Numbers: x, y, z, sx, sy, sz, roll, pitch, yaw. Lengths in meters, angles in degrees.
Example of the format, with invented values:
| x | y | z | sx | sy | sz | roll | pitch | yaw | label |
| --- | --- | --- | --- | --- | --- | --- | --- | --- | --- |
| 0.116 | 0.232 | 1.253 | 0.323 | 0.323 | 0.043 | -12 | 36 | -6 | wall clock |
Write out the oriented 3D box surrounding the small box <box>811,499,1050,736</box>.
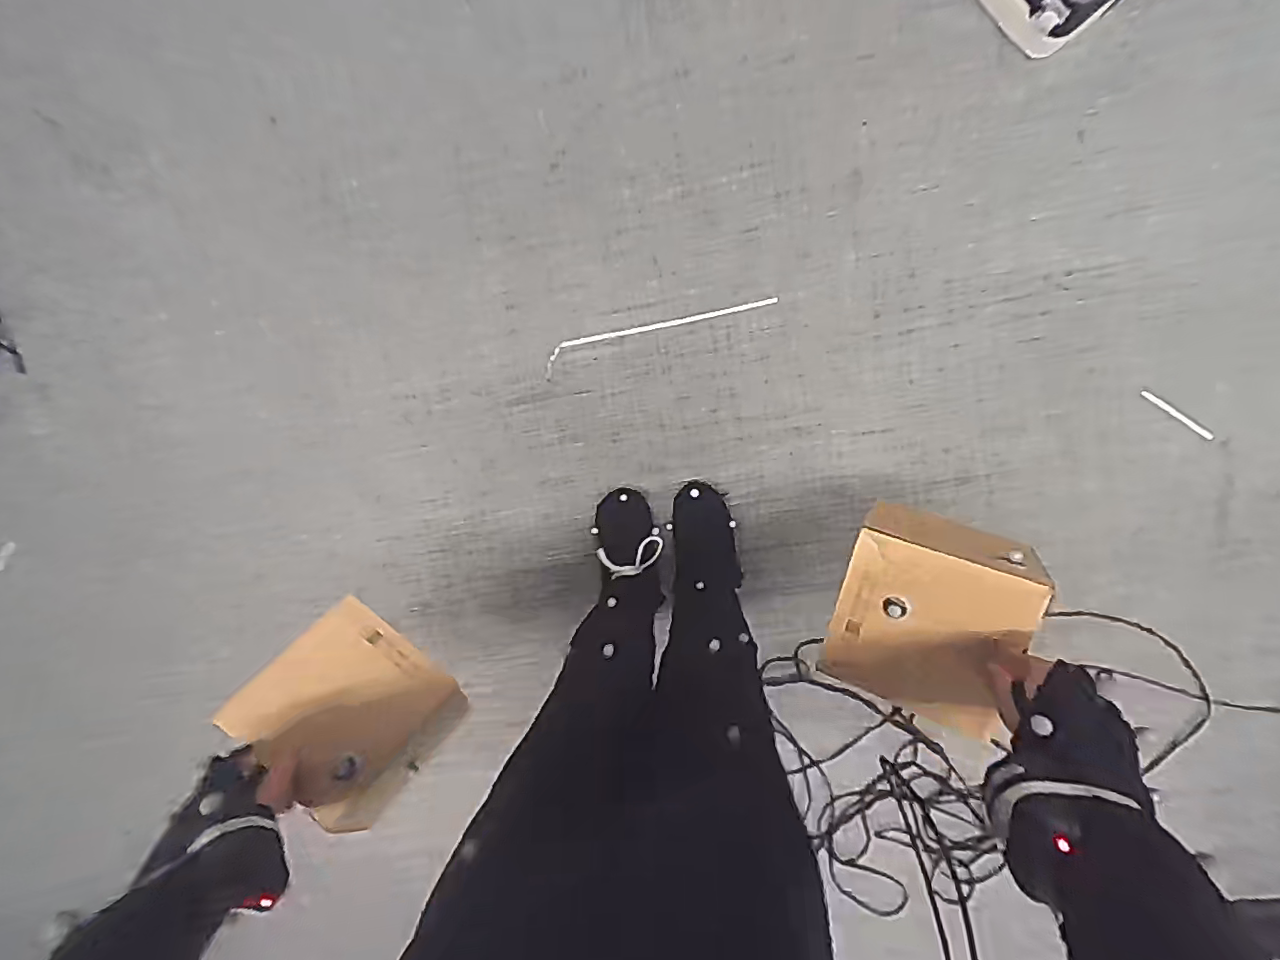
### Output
| x | y | z | sx | sy | sz | roll | pitch | yaw | label |
| --- | --- | --- | --- | --- | --- | --- | --- | --- | --- |
| 0.306 | 0.130 | 0.594 | 0.176 | 0.179 | 0.168 | 19 | 107 | 25 | small box |
